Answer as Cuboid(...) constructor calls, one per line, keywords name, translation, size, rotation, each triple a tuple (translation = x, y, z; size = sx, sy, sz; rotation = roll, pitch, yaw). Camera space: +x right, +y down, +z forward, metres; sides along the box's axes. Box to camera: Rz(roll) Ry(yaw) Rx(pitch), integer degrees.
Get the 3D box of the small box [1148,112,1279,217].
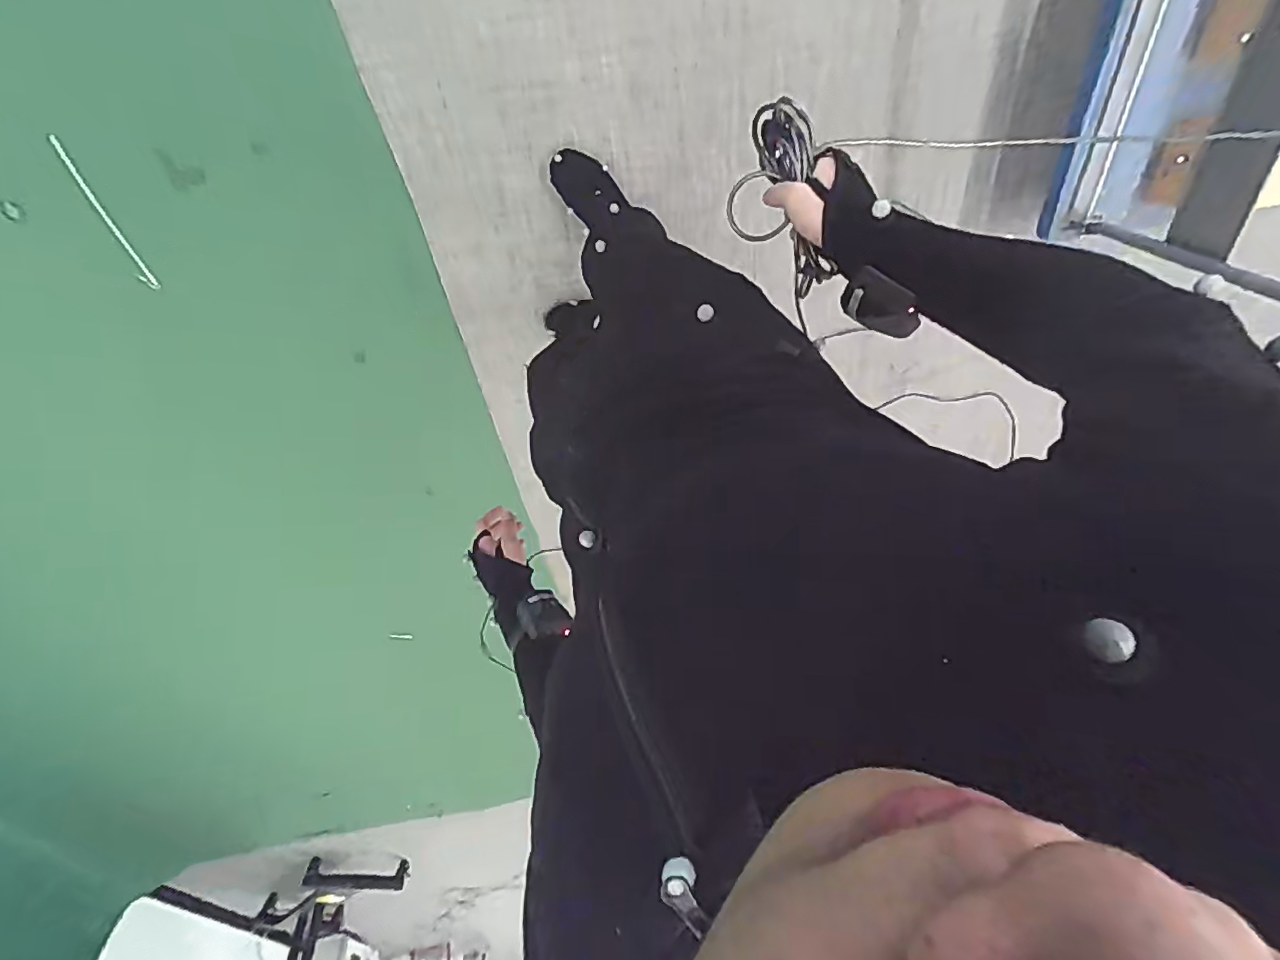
Cuboid(name="small box", translation=(1.305, -0.699, 1.192), size=(0.179, 0.176, 0.168), rotation=(-9, 129, -1))
